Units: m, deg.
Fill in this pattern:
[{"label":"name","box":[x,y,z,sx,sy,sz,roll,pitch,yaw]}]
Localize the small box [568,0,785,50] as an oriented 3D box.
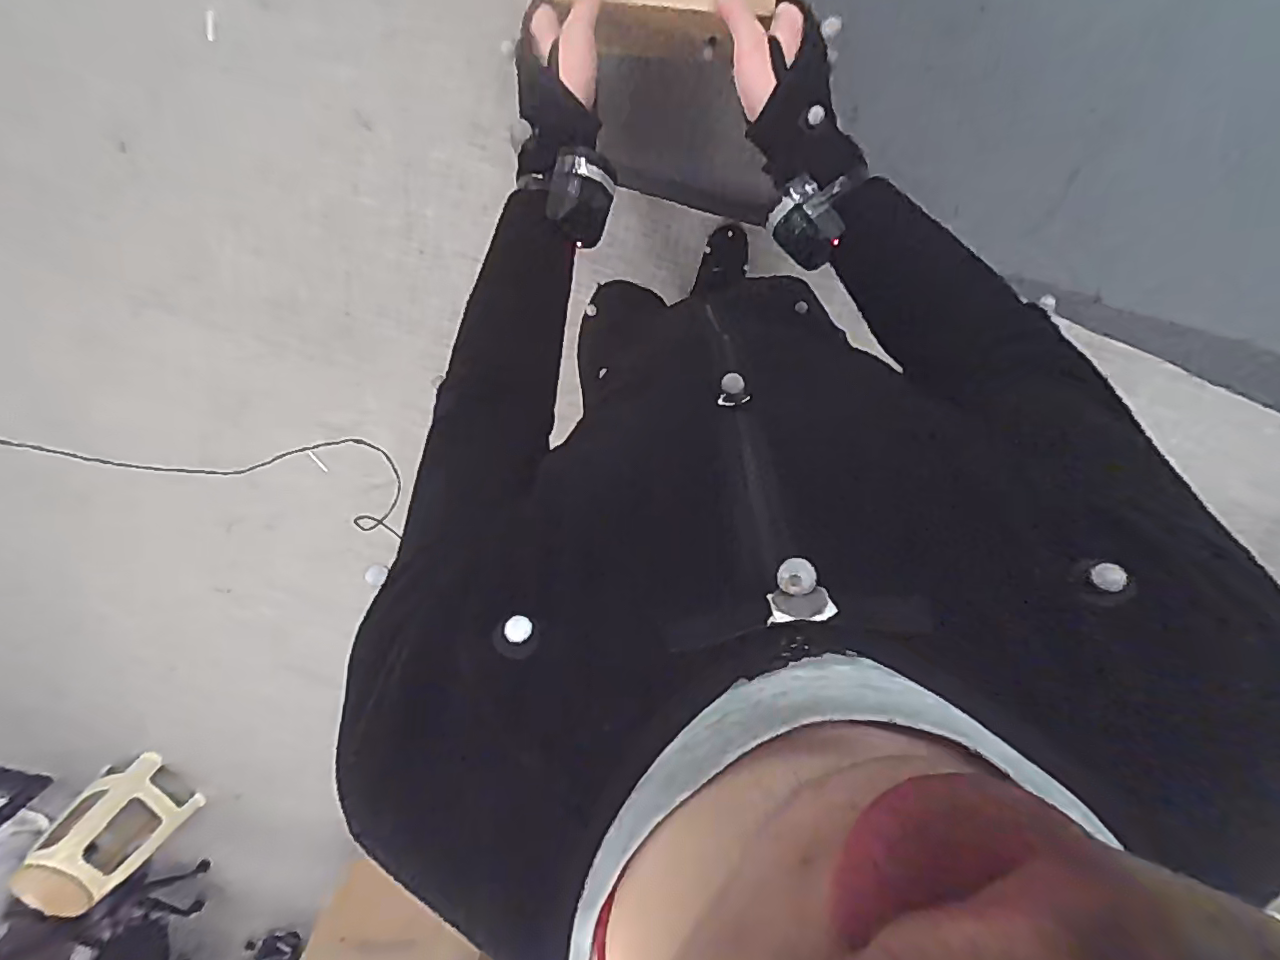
[{"label":"small box","box":[0.032,-0.471,0.433,0.179,0.176,0.168,5,116,-1]}]
